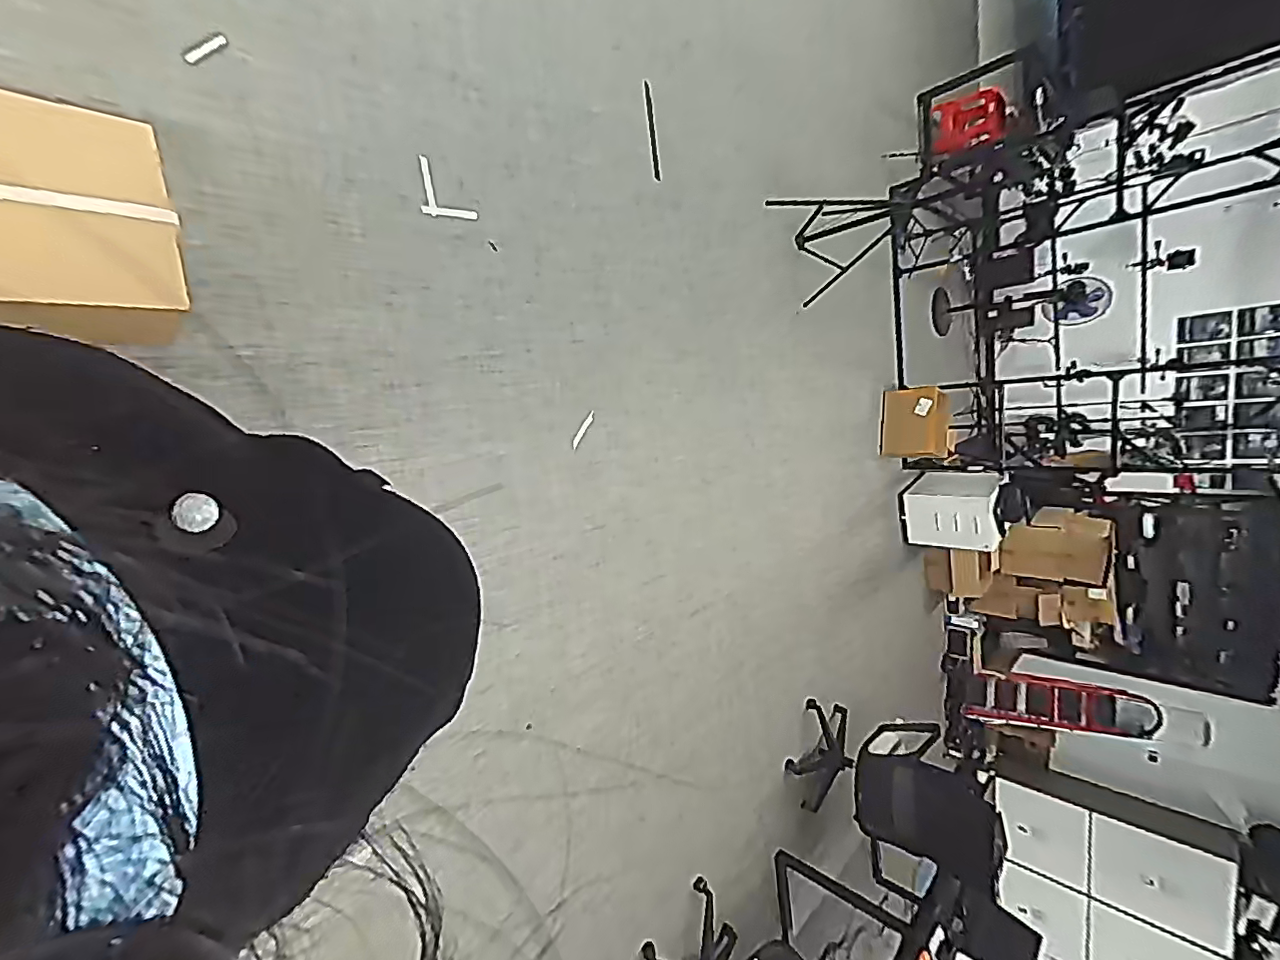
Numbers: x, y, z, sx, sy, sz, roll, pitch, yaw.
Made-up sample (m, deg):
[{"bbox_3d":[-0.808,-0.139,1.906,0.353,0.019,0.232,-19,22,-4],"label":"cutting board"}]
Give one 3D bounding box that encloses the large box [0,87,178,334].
[{"bbox_3d":[-1.067,-0.424,0.893,0.408,0.320,0.320,-13,98,-45],"label":"large box"}]
